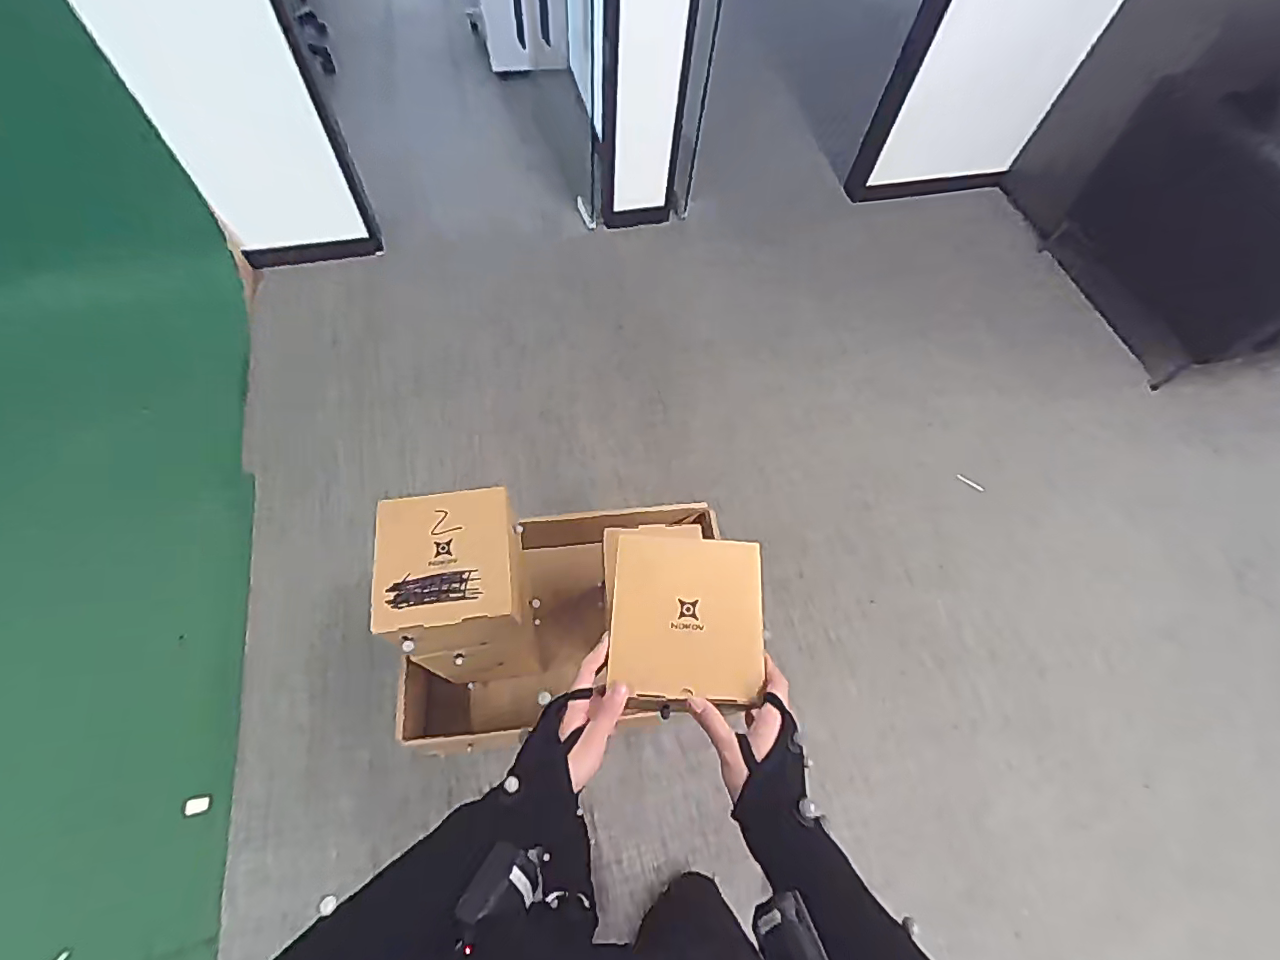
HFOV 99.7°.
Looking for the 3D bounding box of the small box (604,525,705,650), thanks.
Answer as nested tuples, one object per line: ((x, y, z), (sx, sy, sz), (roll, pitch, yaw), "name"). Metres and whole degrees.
((0.024, 0.189, 0.920), (0.168, 0.176, 0.179), (-1, 63, -5), "small box")

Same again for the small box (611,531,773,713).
((0.054, 0.177, 0.650), (0.168, 0.176, 0.179), (4, 64, -1), "small box")

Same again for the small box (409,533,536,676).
((-0.265, 0.207, 0.884), (0.168, 0.176, 0.179), (-7, 63, -7), "small box")
